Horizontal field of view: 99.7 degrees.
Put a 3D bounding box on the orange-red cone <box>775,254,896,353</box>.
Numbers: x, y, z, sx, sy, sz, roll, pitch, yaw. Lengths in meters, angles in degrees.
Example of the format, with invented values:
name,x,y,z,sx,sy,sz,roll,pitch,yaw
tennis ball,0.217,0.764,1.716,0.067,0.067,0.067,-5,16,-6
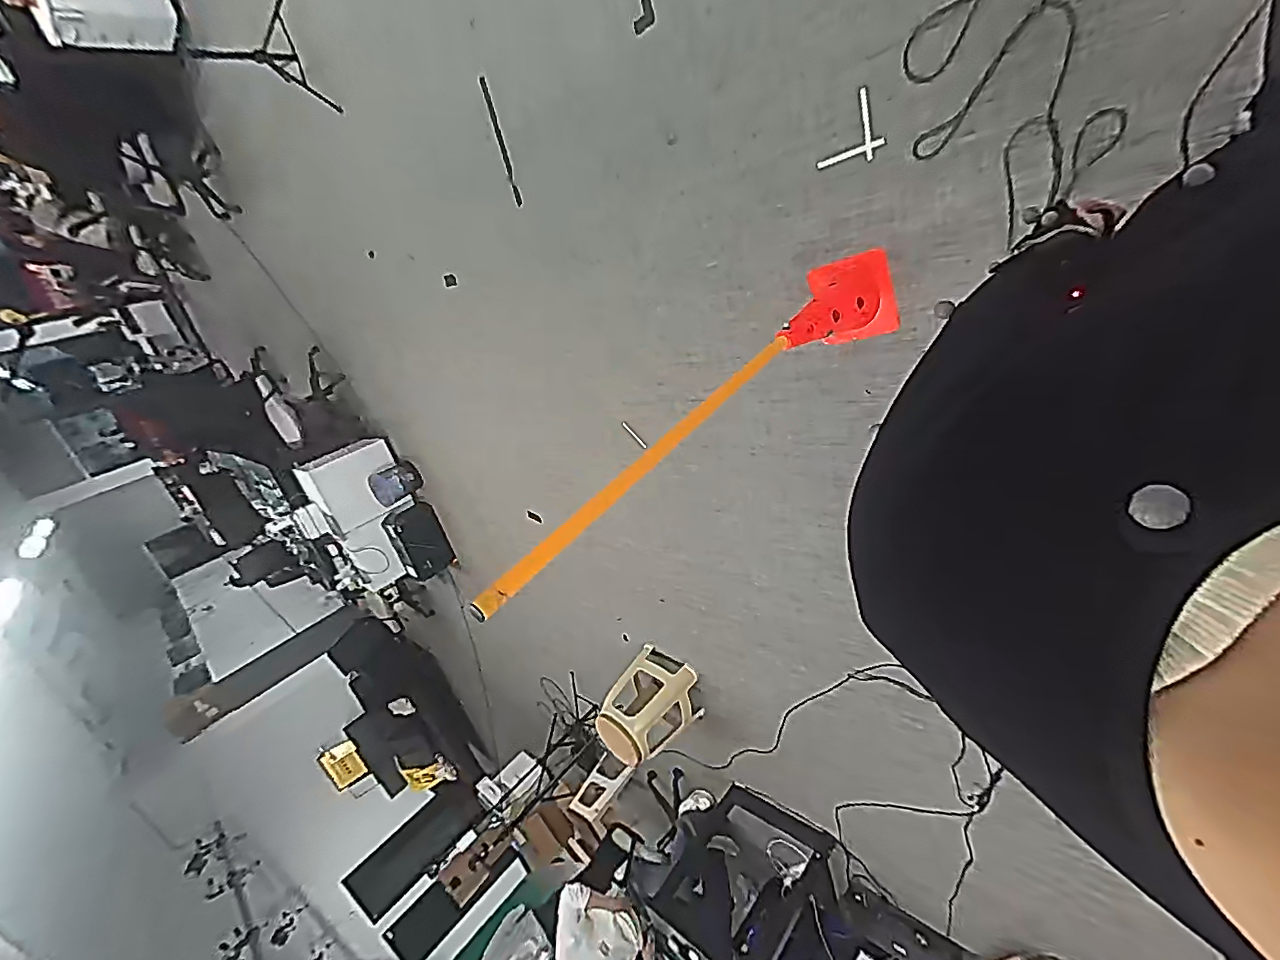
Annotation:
name,x,y,z,sx,sy,sz,roll,pitch,yaw
orange-red cone,0.411,-0.364,1.233,0.199,0.360,0.198,-1,117,46
